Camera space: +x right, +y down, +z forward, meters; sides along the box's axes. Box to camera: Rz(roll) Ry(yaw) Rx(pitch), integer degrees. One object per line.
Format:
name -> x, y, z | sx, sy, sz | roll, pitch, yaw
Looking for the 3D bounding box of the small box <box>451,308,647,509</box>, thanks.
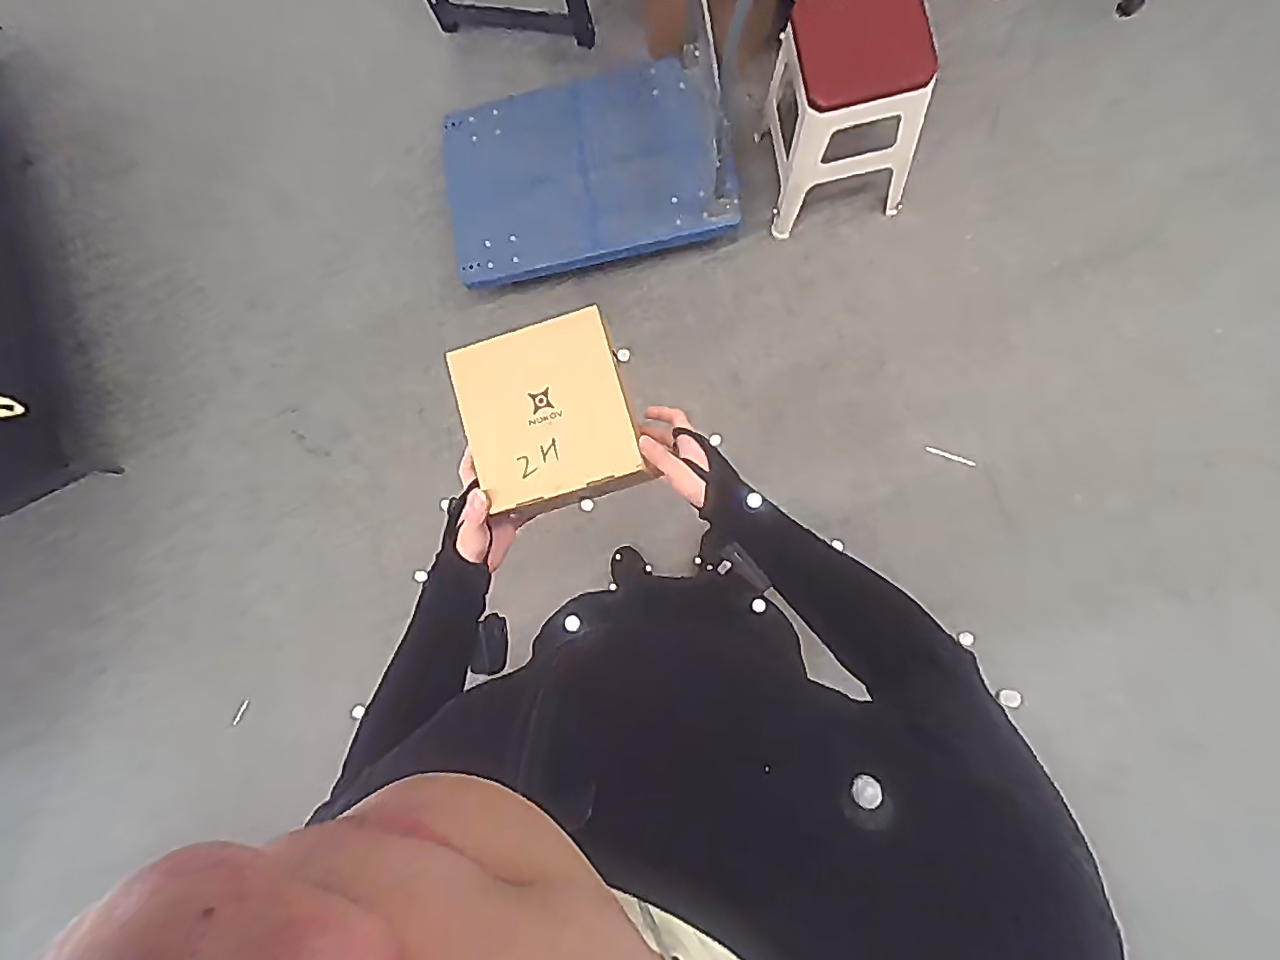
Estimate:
small box -> -0.094, -0.069, 0.632 | 0.168, 0.176, 0.179 | -16, 85, 4
